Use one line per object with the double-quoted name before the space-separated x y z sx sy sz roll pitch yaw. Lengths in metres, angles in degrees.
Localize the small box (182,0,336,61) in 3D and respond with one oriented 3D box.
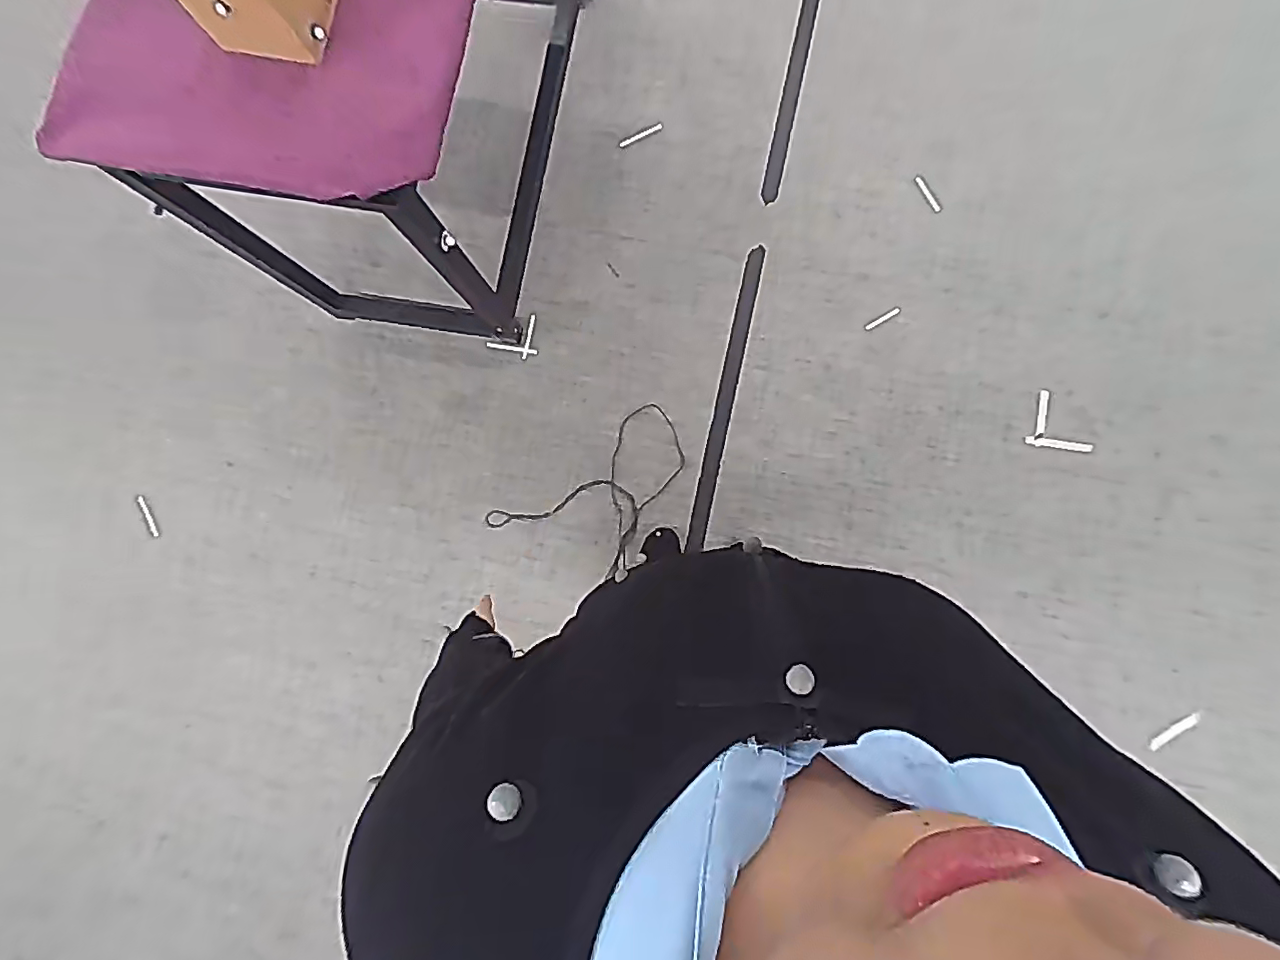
"small box" -0.598 -0.789 0.826 0.179 0.176 0.168 11 85 4
